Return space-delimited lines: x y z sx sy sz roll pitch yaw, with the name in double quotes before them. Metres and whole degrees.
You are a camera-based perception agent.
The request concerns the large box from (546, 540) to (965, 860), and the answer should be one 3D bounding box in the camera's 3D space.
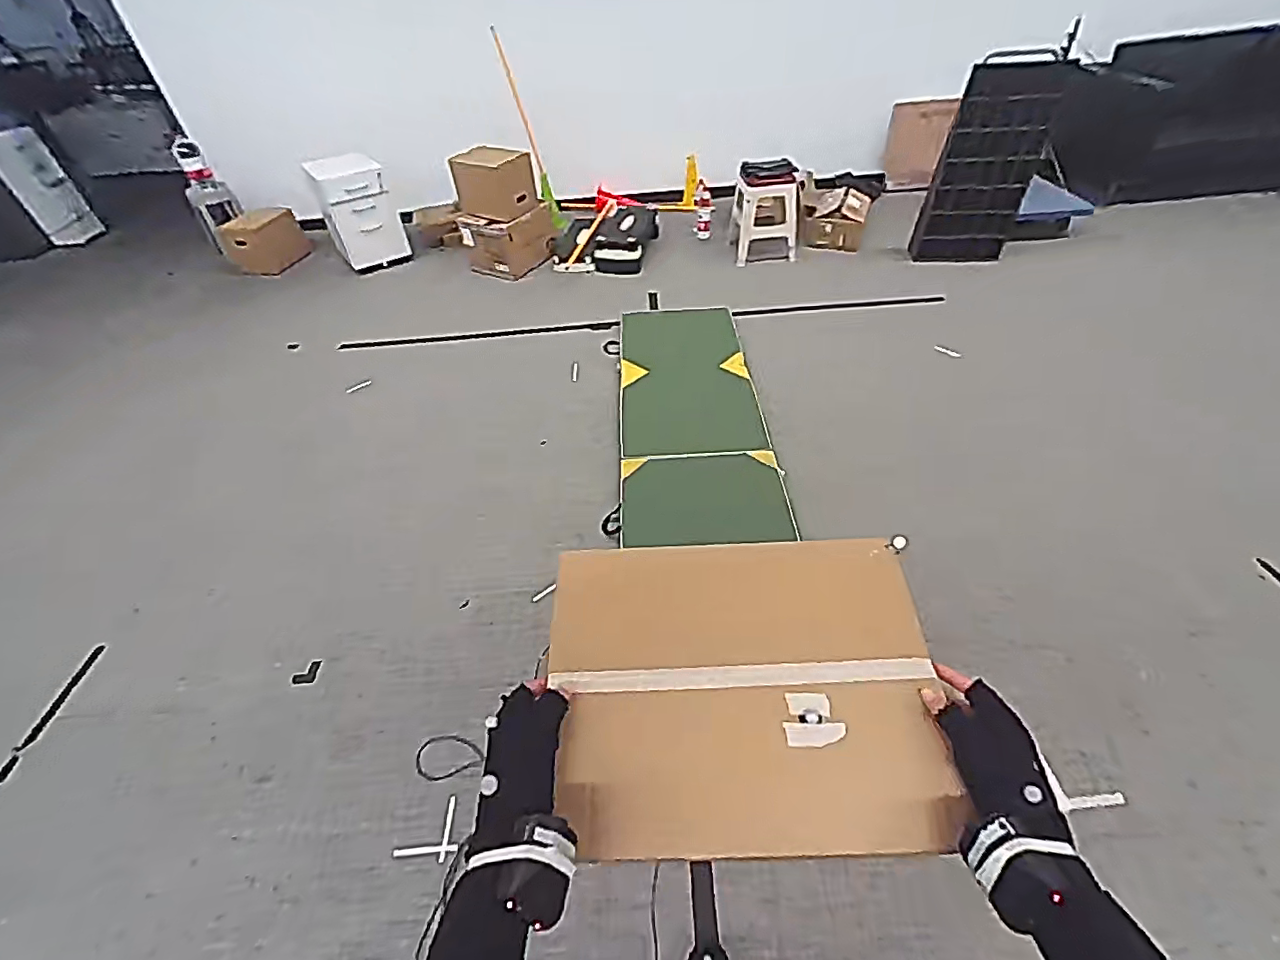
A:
"large box" 0.106 0.299 0.711 0.408 0.320 0.320 -3 56 1
